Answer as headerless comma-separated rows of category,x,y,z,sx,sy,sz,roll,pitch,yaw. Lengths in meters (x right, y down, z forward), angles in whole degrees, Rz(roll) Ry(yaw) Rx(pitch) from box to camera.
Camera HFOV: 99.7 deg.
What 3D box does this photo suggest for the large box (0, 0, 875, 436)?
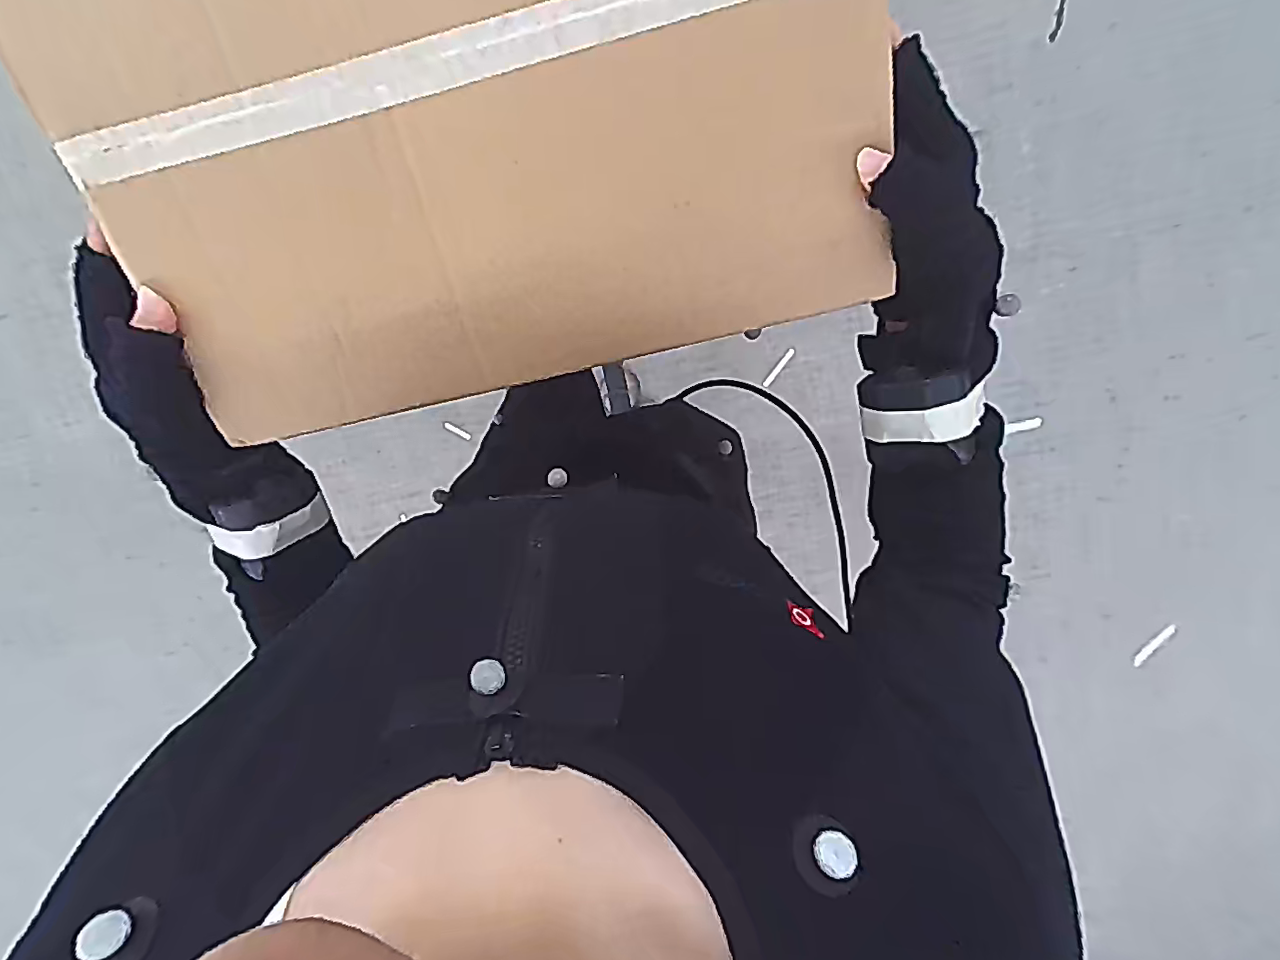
large box,-0.092,-0.268,0.402,0.408,0.320,0.320,-12,113,5
